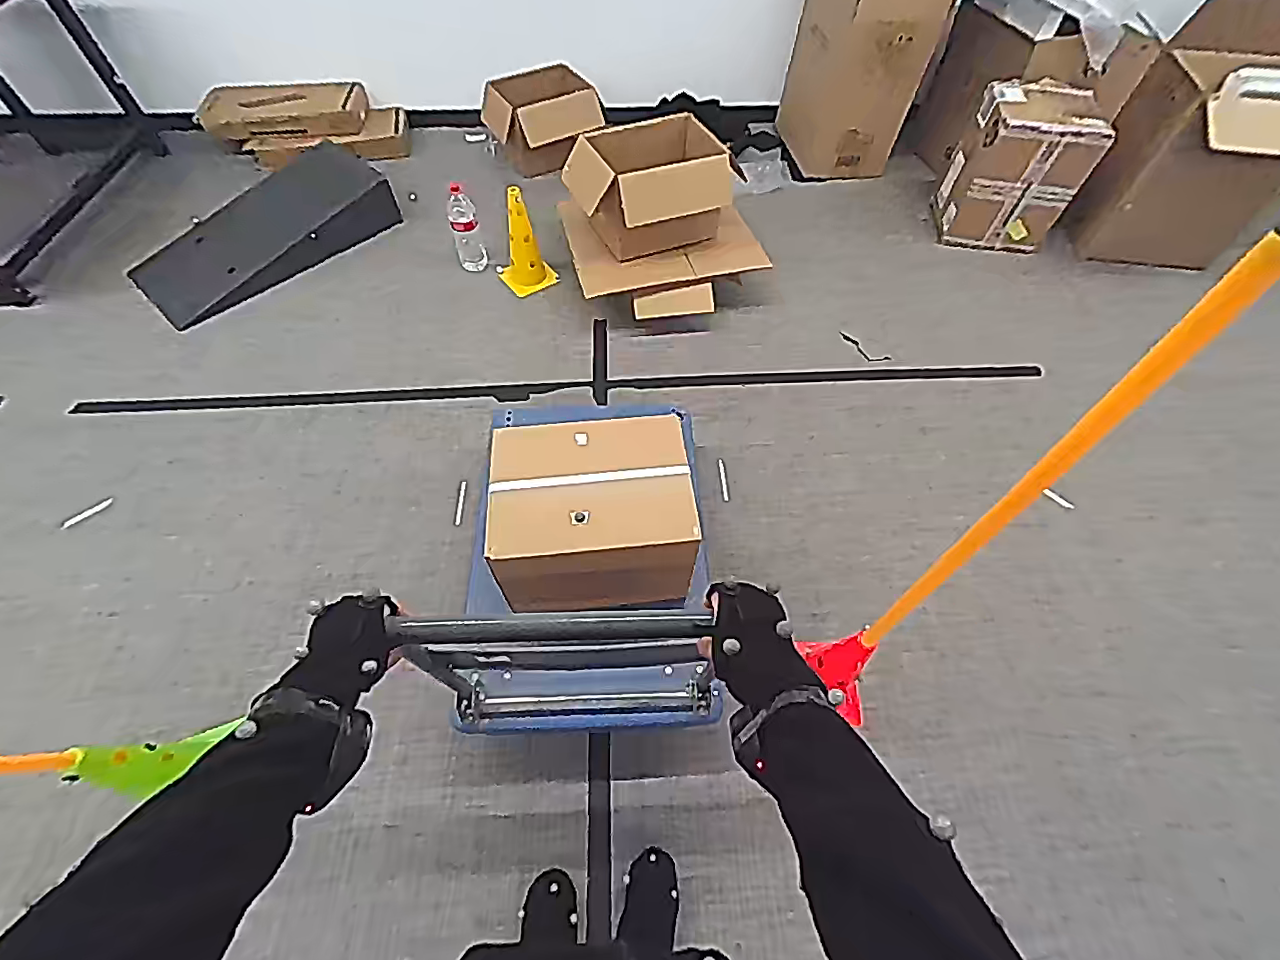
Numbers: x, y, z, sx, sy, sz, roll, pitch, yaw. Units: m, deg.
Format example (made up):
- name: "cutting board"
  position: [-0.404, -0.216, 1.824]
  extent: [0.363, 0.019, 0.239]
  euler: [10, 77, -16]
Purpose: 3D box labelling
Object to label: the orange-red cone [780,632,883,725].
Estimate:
- name: "orange-red cone"
  position: [0.452, 0.405, 1.193]
  extent: [0.199, 0.360, 0.198]
  euler: [4, 58, 0]
